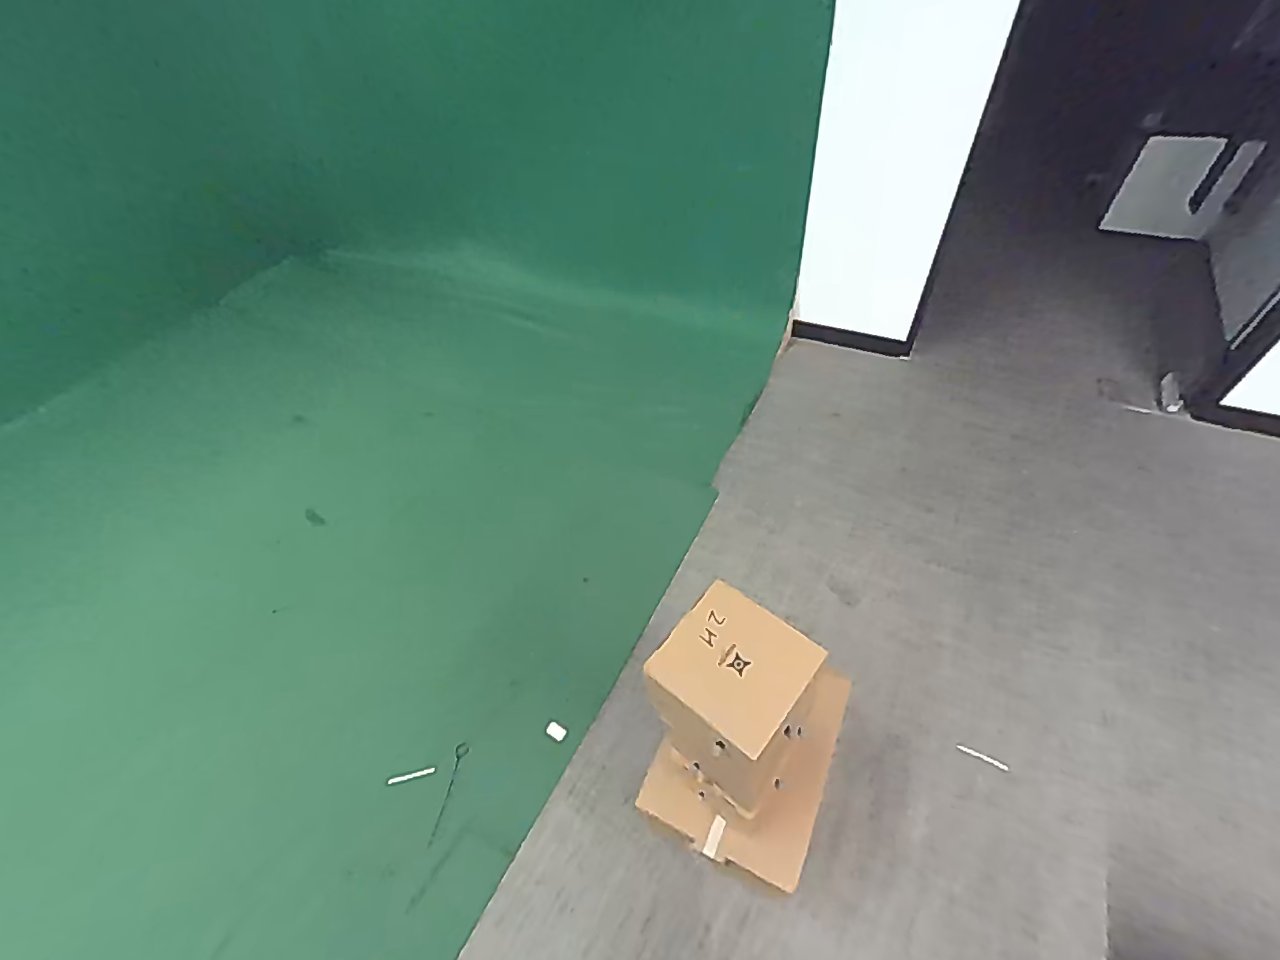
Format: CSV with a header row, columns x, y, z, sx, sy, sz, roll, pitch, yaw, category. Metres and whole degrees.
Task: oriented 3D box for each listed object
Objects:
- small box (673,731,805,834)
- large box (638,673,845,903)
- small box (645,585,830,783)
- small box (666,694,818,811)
x,y,z,sx,sy,sz,roll,pitch,yaw,category
0.175,0.502,0.985,0.168,0.176,0.179,28,59,27,small box
0.229,0.622,1.195,0.320,0.320,0.408,18,54,21,large box
0.131,0.285,0.743,0.179,0.176,0.168,32,61,30,small box
0.159,0.390,0.867,0.168,0.176,0.179,31,61,30,small box
